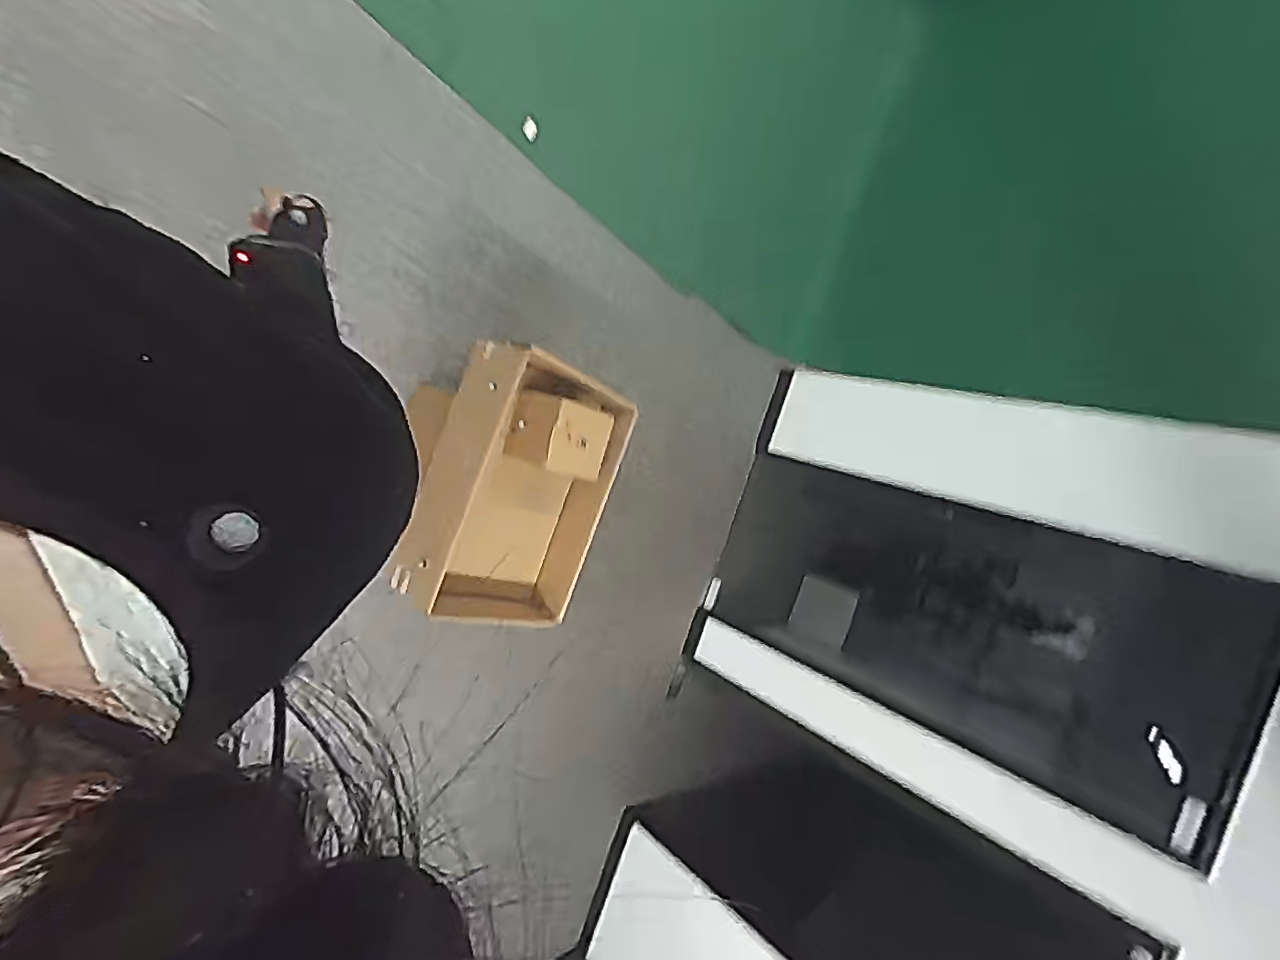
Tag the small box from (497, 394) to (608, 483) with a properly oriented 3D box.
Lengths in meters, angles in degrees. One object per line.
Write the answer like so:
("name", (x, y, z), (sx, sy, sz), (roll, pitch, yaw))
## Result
("small box", (-0.212, -0.102, 1.314), (0.179, 0.176, 0.168), (16, 91, -51))
